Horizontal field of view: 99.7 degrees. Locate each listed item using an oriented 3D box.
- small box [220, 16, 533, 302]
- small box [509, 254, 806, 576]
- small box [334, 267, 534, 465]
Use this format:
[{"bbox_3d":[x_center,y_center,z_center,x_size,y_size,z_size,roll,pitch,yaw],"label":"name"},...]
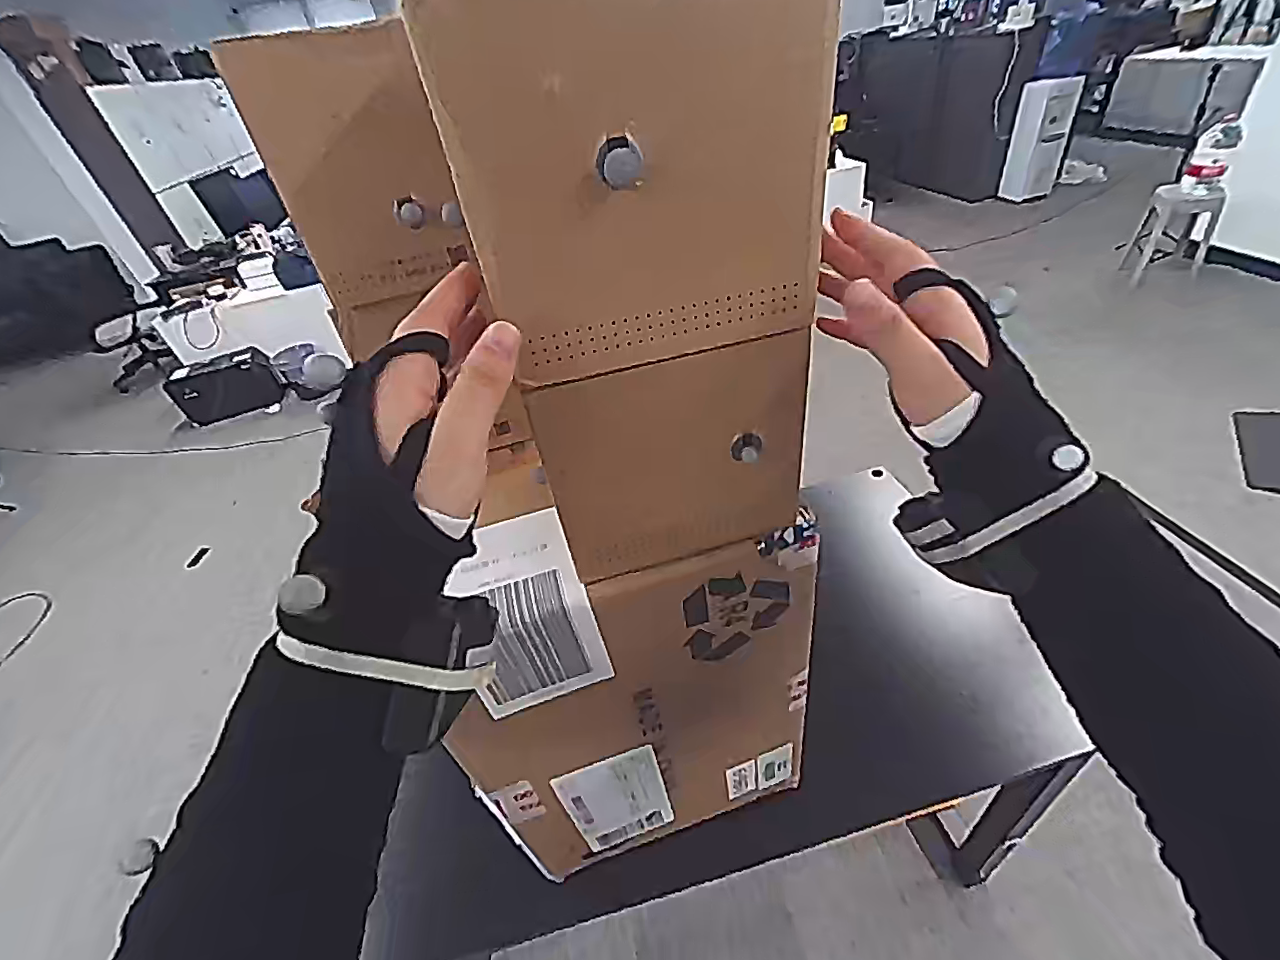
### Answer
[{"bbox_3d":[-0.202,-0.269,0.463,0.168,0.176,0.179,-19,38,-11],"label":"small box"},{"bbox_3d":[0.009,-0.054,0.425,0.179,0.176,0.168,-16,39,-6],"label":"small box"},{"bbox_3d":[-0.189,-0.142,0.569,0.168,0.176,0.179,-17,39,-9],"label":"small box"}]
